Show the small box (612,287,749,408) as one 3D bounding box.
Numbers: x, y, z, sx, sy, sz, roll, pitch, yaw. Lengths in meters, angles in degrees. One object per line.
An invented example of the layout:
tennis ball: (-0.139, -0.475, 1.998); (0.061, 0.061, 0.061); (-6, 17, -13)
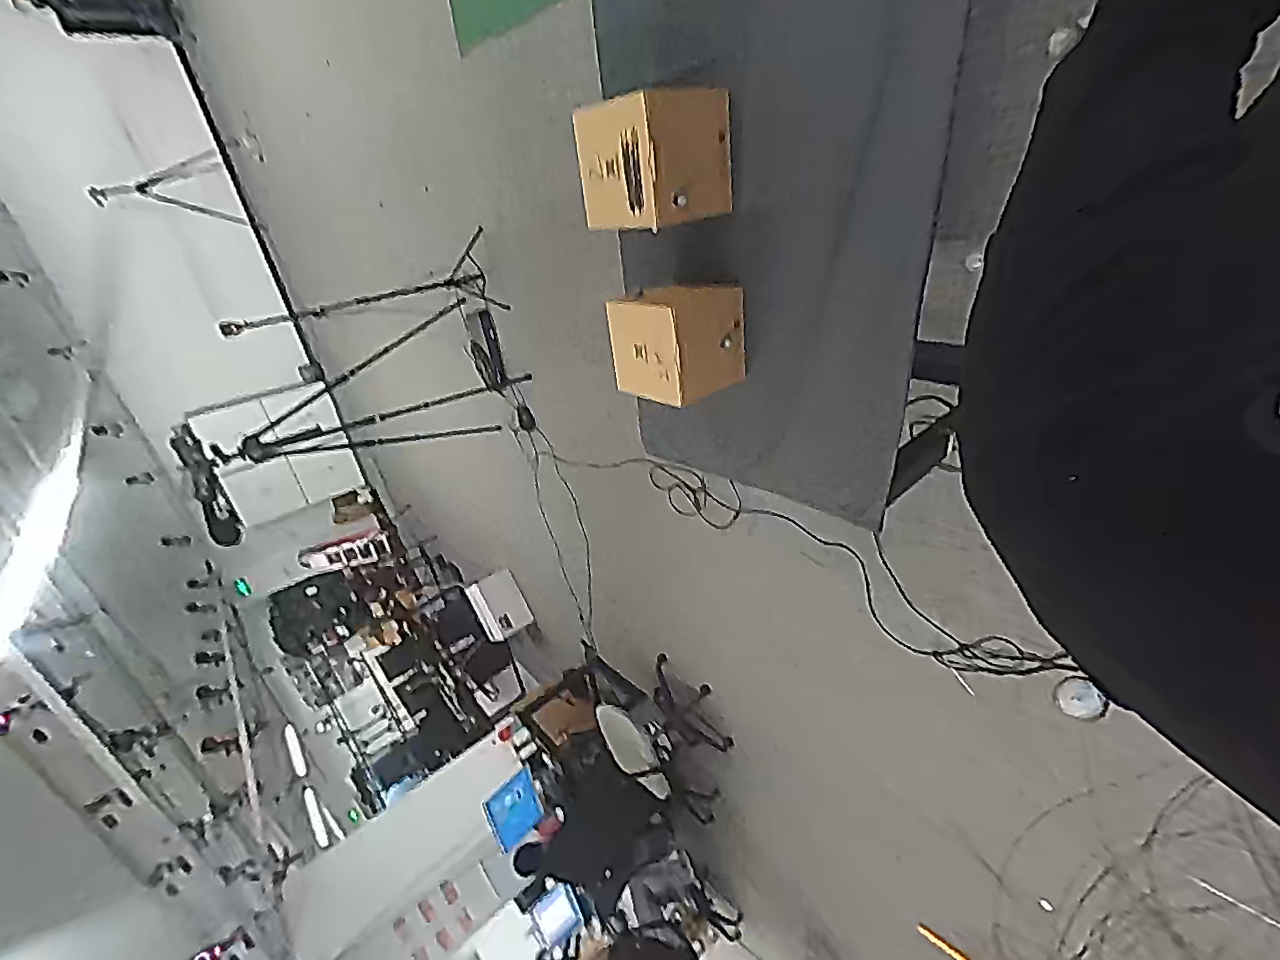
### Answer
small box: (0.075, -0.246, 0.973); (0.179, 0.176, 0.168); (23, 131, 45)
